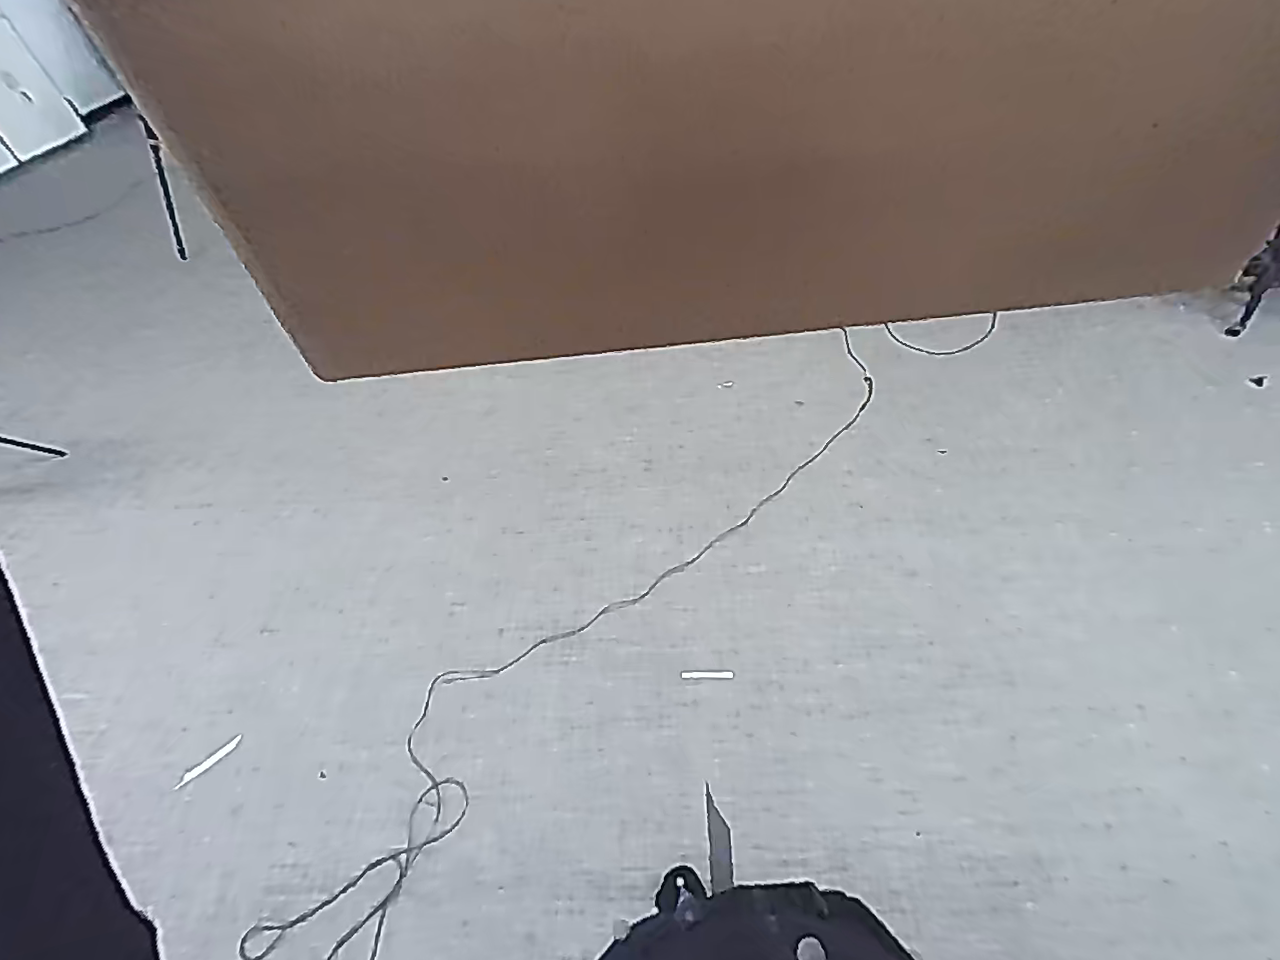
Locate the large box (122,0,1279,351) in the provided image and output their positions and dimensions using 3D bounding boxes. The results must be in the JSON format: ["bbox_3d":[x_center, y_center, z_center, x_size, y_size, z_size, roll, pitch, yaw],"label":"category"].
[{"bbox_3d":[0.034,-0.284,0.228,0.408,0.320,0.320,-6,50,-2],"label":"large box"}]
